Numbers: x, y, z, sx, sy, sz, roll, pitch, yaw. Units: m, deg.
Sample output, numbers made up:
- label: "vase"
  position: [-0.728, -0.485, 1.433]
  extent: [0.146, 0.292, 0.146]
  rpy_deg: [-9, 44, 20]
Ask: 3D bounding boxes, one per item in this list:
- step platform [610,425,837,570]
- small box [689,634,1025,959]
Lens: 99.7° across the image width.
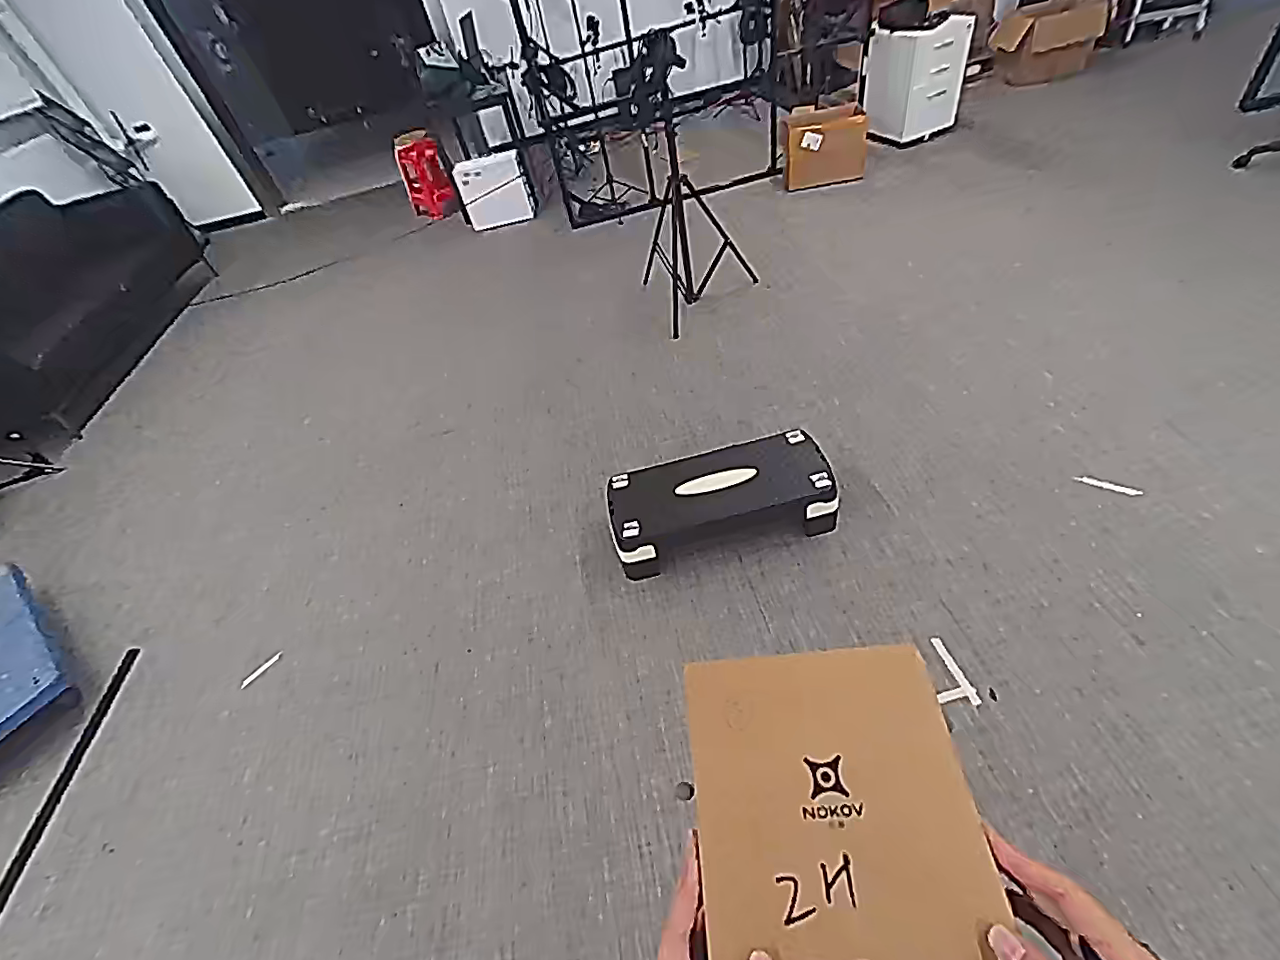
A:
- label: "step platform"
  position: [0.250, 0.048, 1.693]
  extent: [0.684, 0.204, 0.286]
  rpy_deg: [-15, 45, 1]
- label: "small box"
  position: [0.128, 0.232, 0.397]
  extent: [0.168, 0.176, 0.179]
  rpy_deg: [-7, 53, 7]
